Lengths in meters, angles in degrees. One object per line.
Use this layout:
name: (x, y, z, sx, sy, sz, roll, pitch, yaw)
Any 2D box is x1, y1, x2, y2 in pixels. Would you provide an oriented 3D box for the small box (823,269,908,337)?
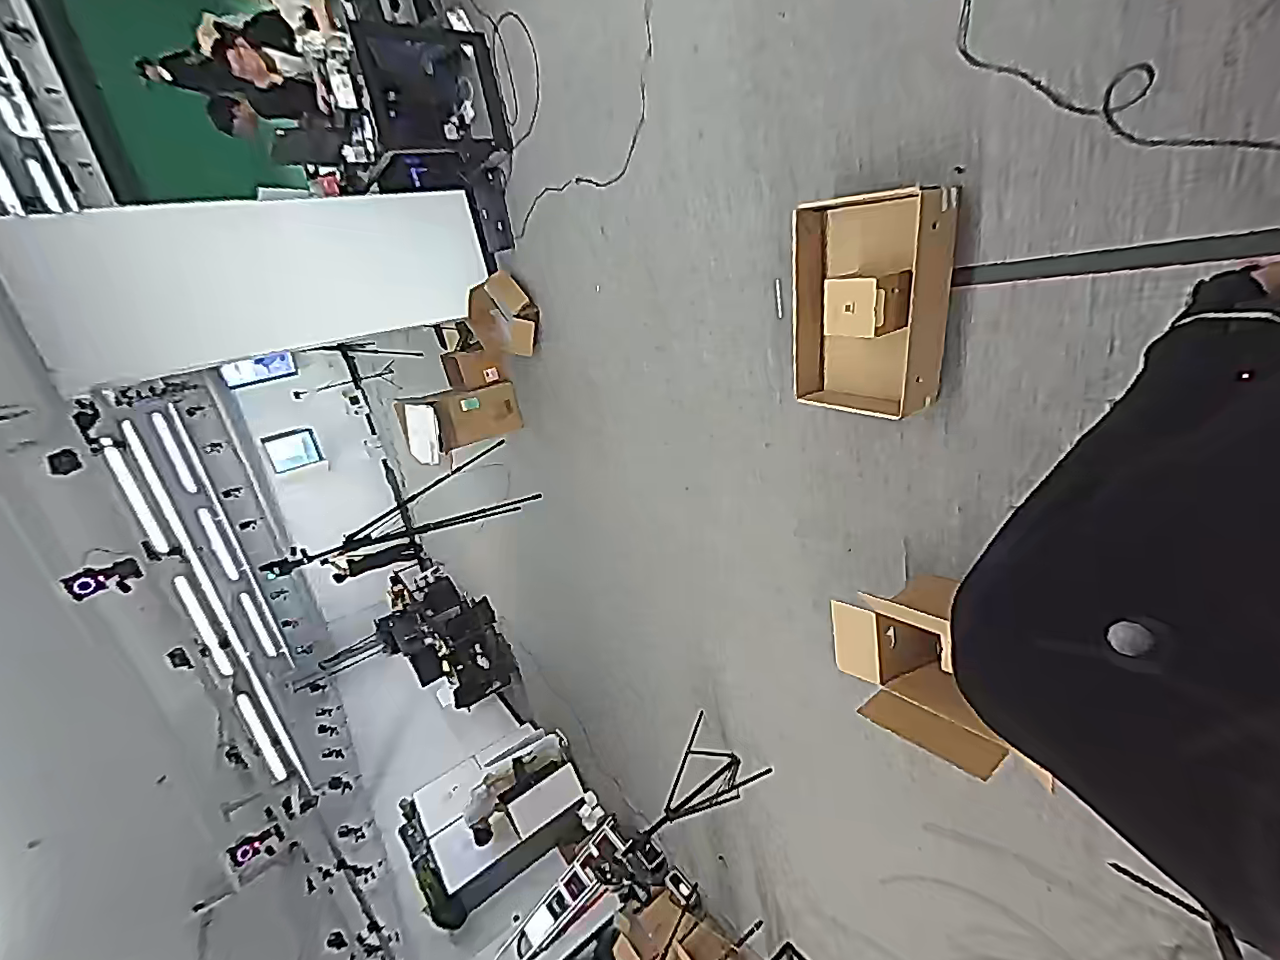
small box: (0.670, -0.528, 1.606, 0.179, 0.176, 0.168, 24, 129, 50)
